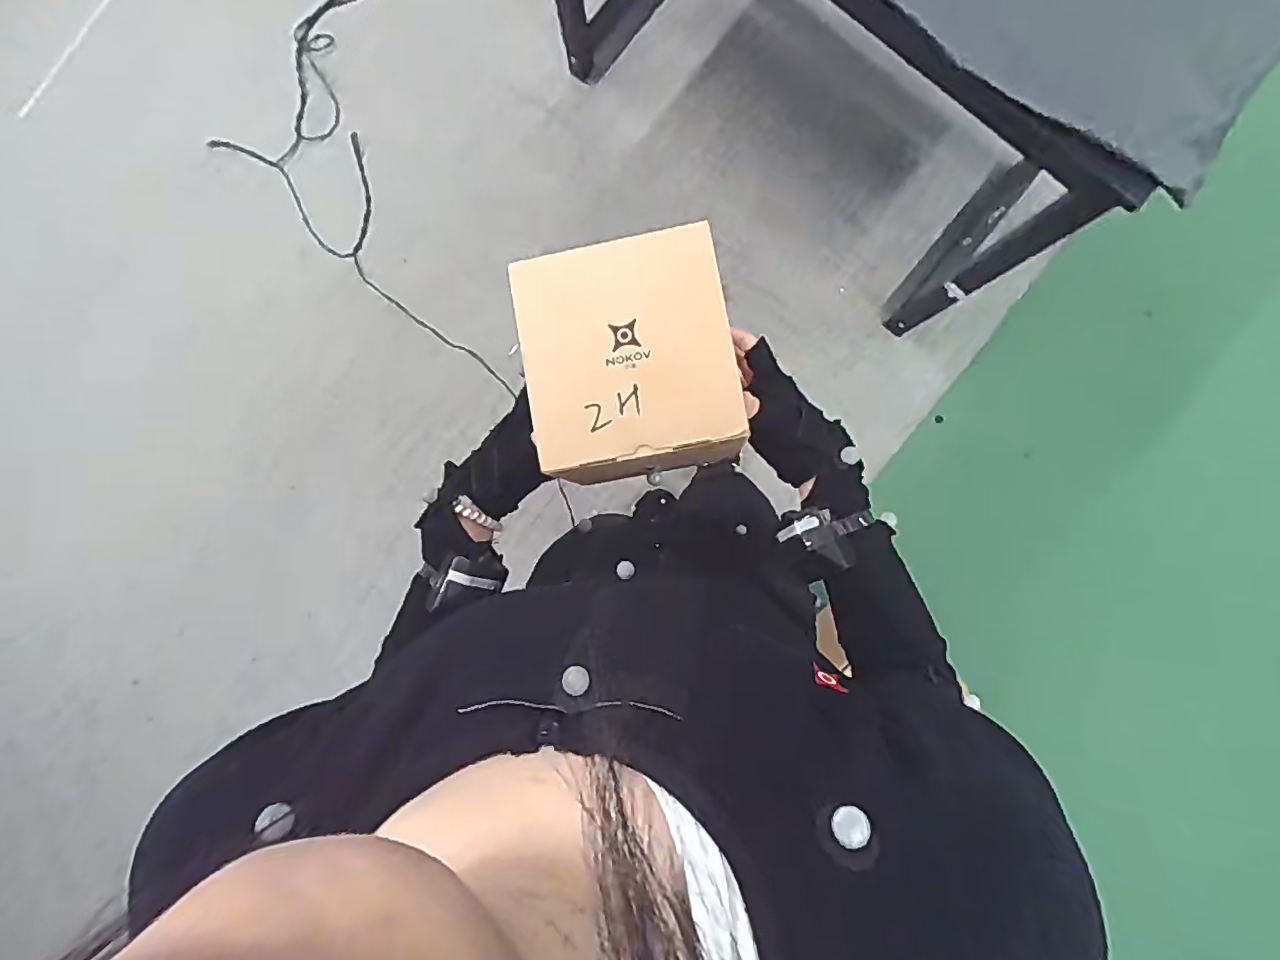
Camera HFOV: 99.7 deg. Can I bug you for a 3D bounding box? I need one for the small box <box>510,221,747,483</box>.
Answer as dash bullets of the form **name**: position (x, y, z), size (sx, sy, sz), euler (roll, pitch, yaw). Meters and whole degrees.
- **small box**: position (-0.006, -0.100, 0.502), size (0.168, 0.176, 0.179), euler (-11, 86, 4)
